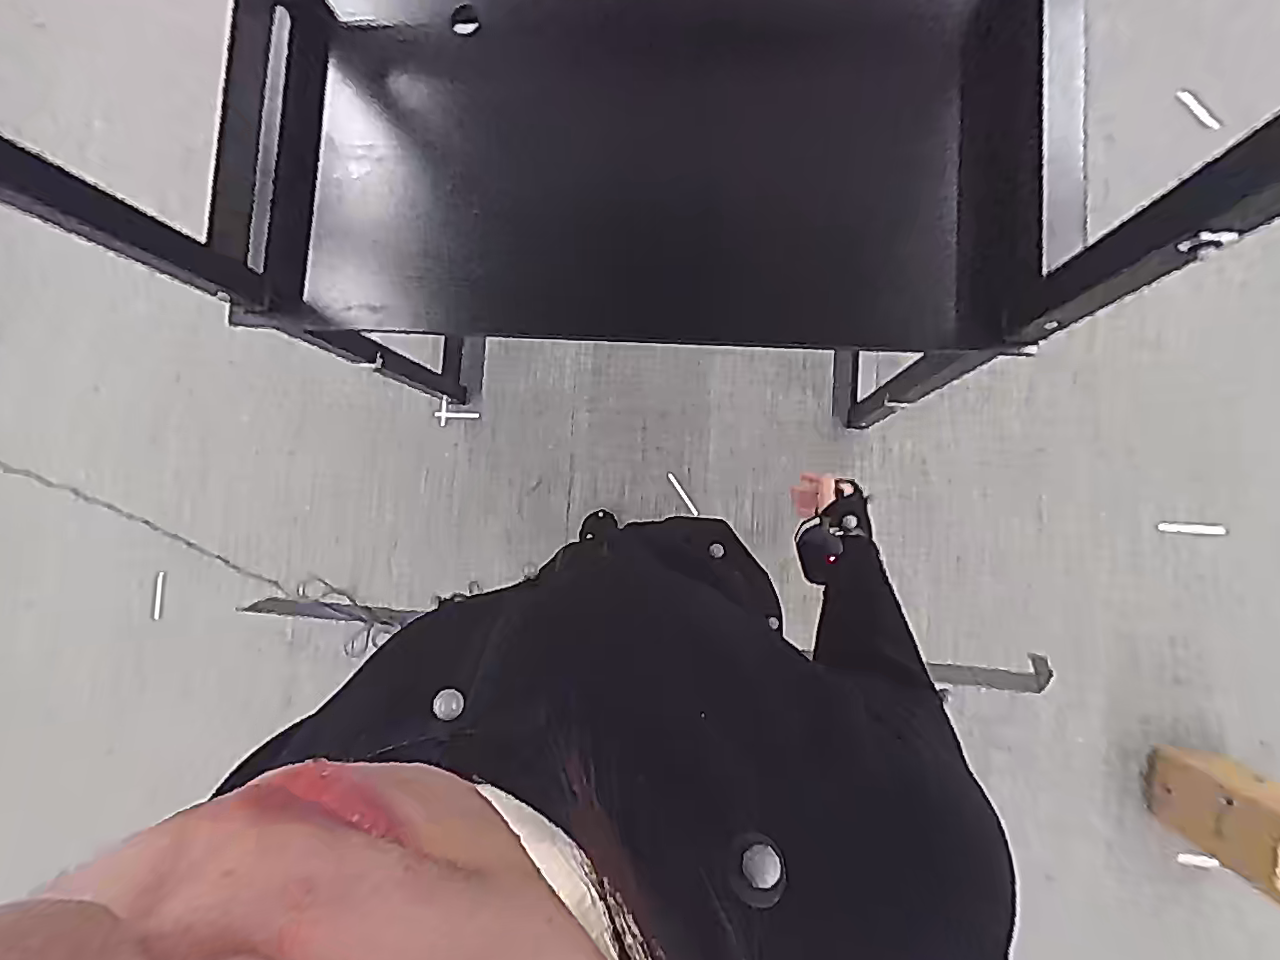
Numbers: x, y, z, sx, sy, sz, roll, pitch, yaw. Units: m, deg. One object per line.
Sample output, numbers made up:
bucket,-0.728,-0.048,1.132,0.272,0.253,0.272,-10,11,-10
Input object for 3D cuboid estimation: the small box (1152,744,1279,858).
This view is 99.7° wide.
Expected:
small box,1.328,0.739,1.237,0.168,0.176,0.179,5,89,6

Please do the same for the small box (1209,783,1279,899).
small box,1.304,0.734,1.073,0.179,0.176,0.168,10,88,6
